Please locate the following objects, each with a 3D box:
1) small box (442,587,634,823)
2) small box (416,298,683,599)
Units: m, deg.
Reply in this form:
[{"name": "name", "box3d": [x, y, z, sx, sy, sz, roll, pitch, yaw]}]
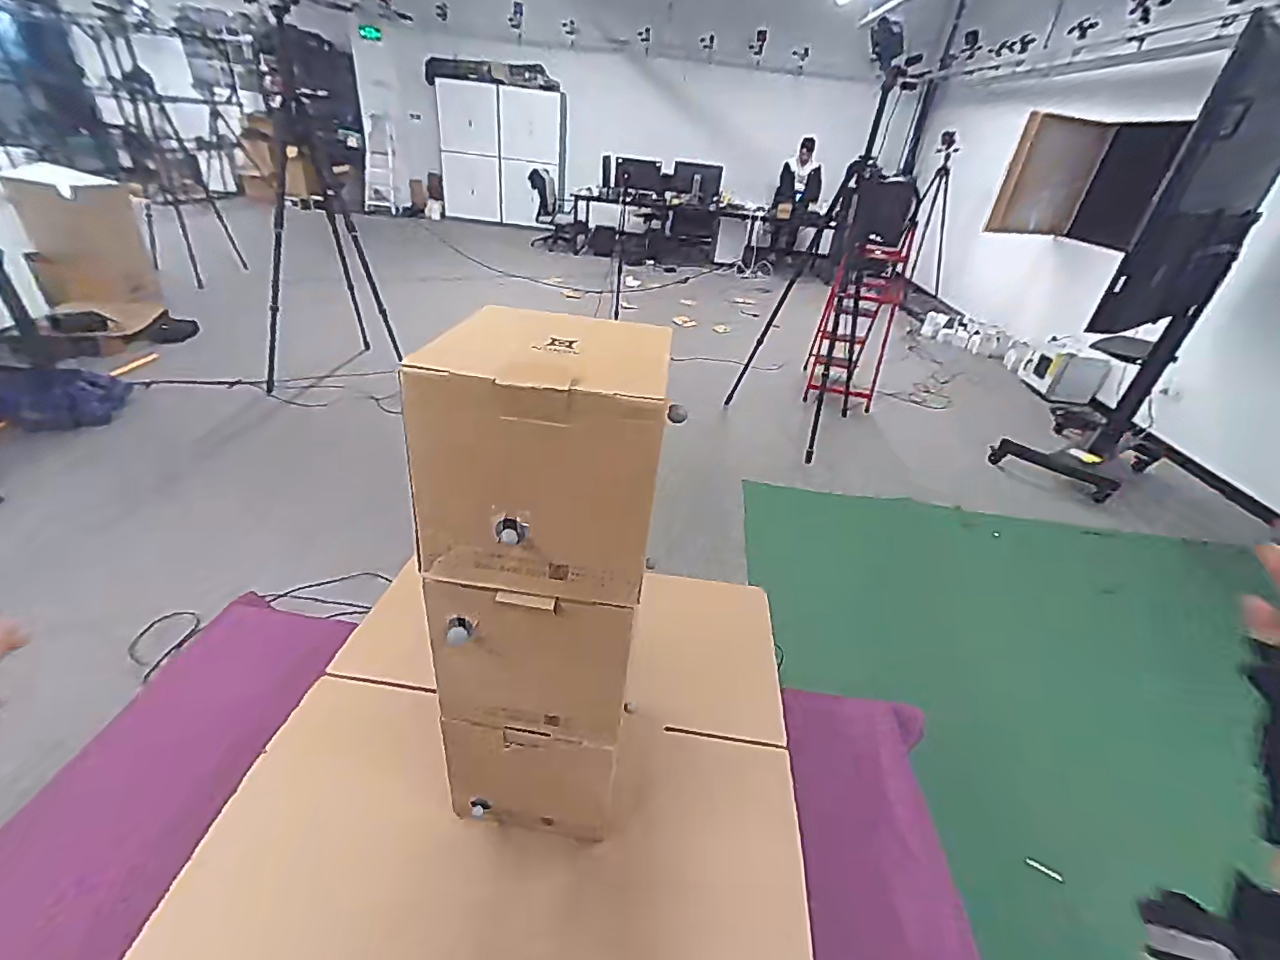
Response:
[{"name": "small box", "box3d": [-0.101, 0.248, 0.602, 0.168, 0.176, 0.179, 7, 33, 0]}, {"name": "small box", "box3d": [-0.061, -0.033, 0.437, 0.168, 0.176, 0.179, 8, 31, 0]}]
